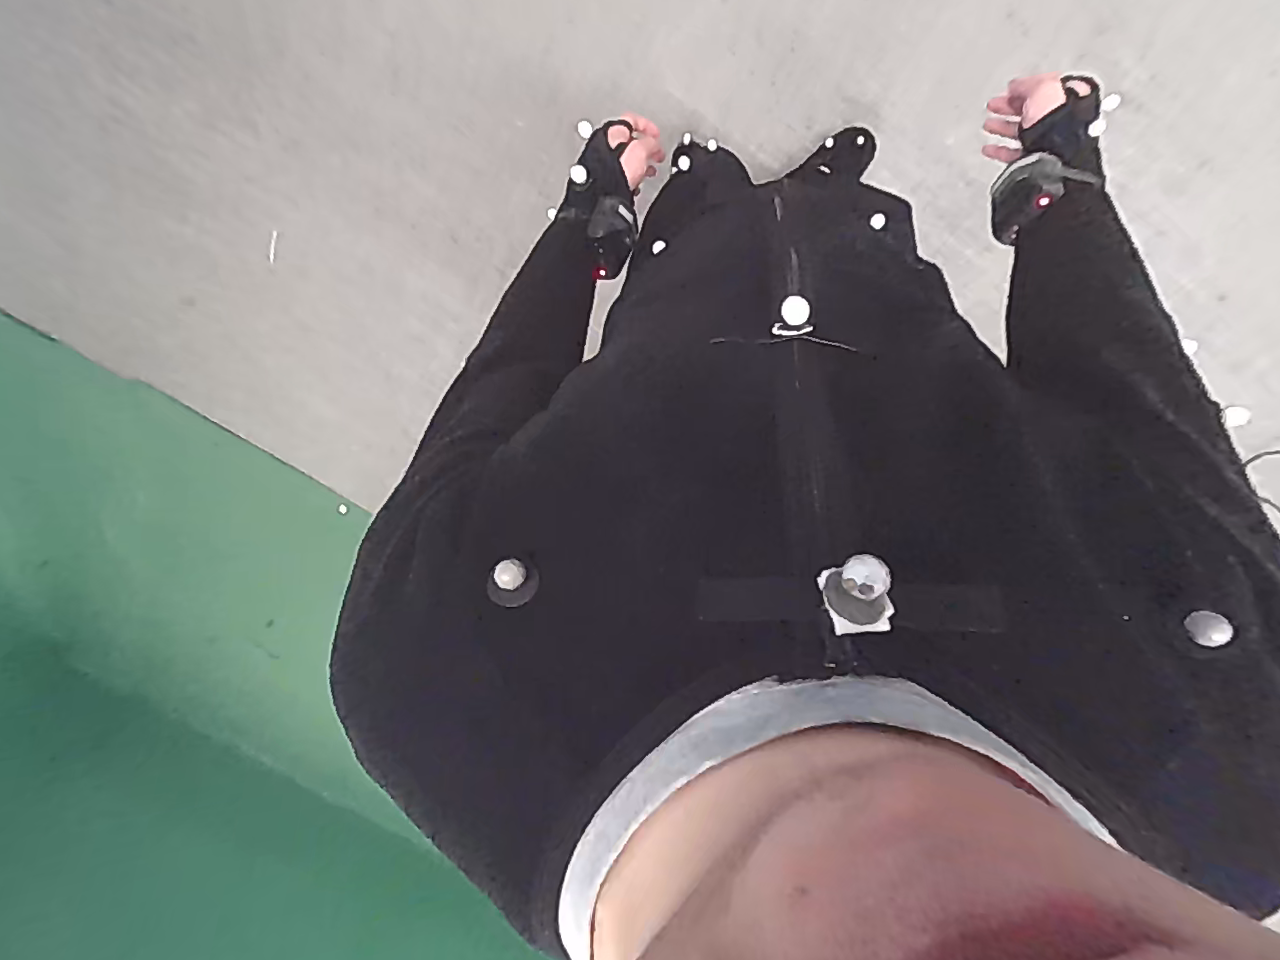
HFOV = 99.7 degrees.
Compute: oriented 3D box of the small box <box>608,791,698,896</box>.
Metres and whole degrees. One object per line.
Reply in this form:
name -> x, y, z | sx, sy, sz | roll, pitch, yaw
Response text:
small box -> 0.040, 0.971, 1.450 | 0.168, 0.176, 0.179 | 32, 127, -5
